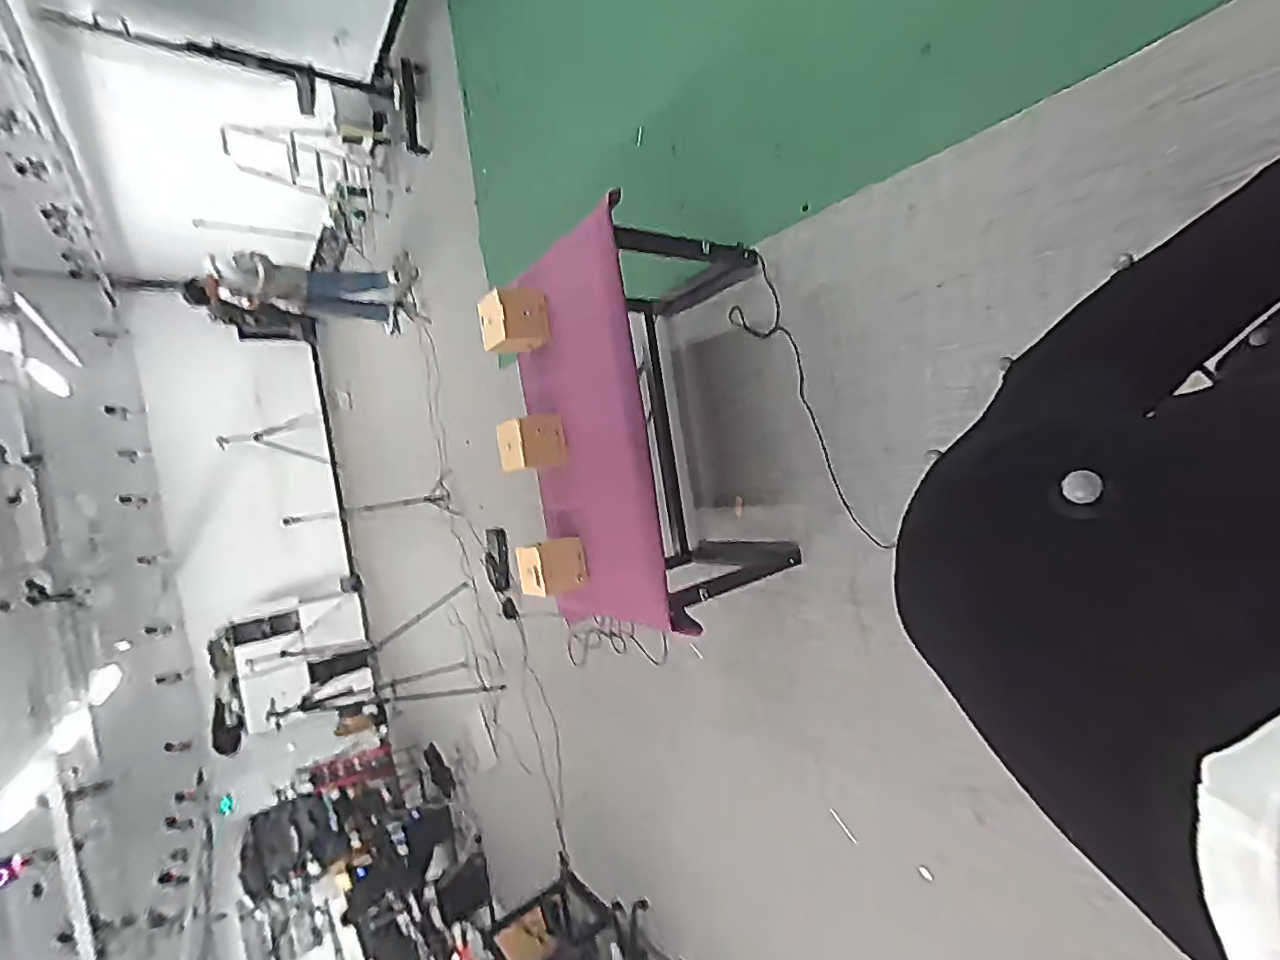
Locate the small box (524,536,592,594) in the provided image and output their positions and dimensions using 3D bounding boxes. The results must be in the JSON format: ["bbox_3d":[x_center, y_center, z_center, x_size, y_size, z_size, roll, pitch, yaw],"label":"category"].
[{"bbox_3d":[-0.276,0.288,1.867,0.179,0.176,0.168,-9,90,54],"label":"small box"}]

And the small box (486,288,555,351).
[{"bbox_3d":[-0.400,-0.542,1.839,0.179,0.176,0.168,-5,94,52],"label":"small box"}]

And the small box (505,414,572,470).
[{"bbox_3d":[-0.343,-0.130,1.863,0.179,0.176,0.168,-7,92,53],"label":"small box"}]
